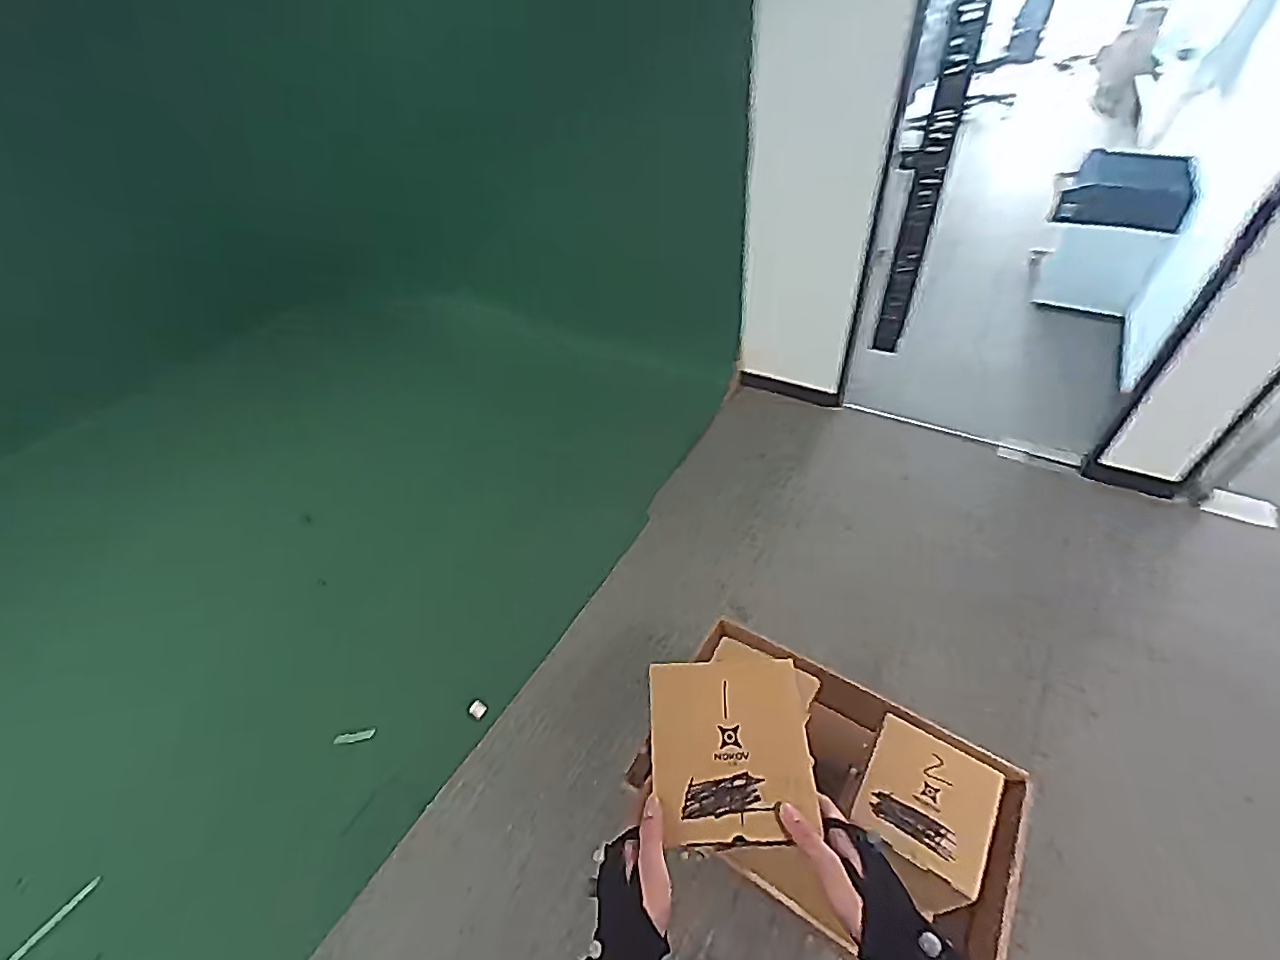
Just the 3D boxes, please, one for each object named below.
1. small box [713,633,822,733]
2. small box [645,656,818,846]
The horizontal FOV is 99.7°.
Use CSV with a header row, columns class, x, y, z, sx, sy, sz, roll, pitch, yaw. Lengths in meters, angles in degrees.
class,x,y,z,sx,sy,sz,roll,pitch,yaw
small box,0.190,0.404,0.934,0.179,0.176,0.168,21,53,24
small box,0.093,0.318,0.630,0.168,0.176,0.179,-3,56,1
